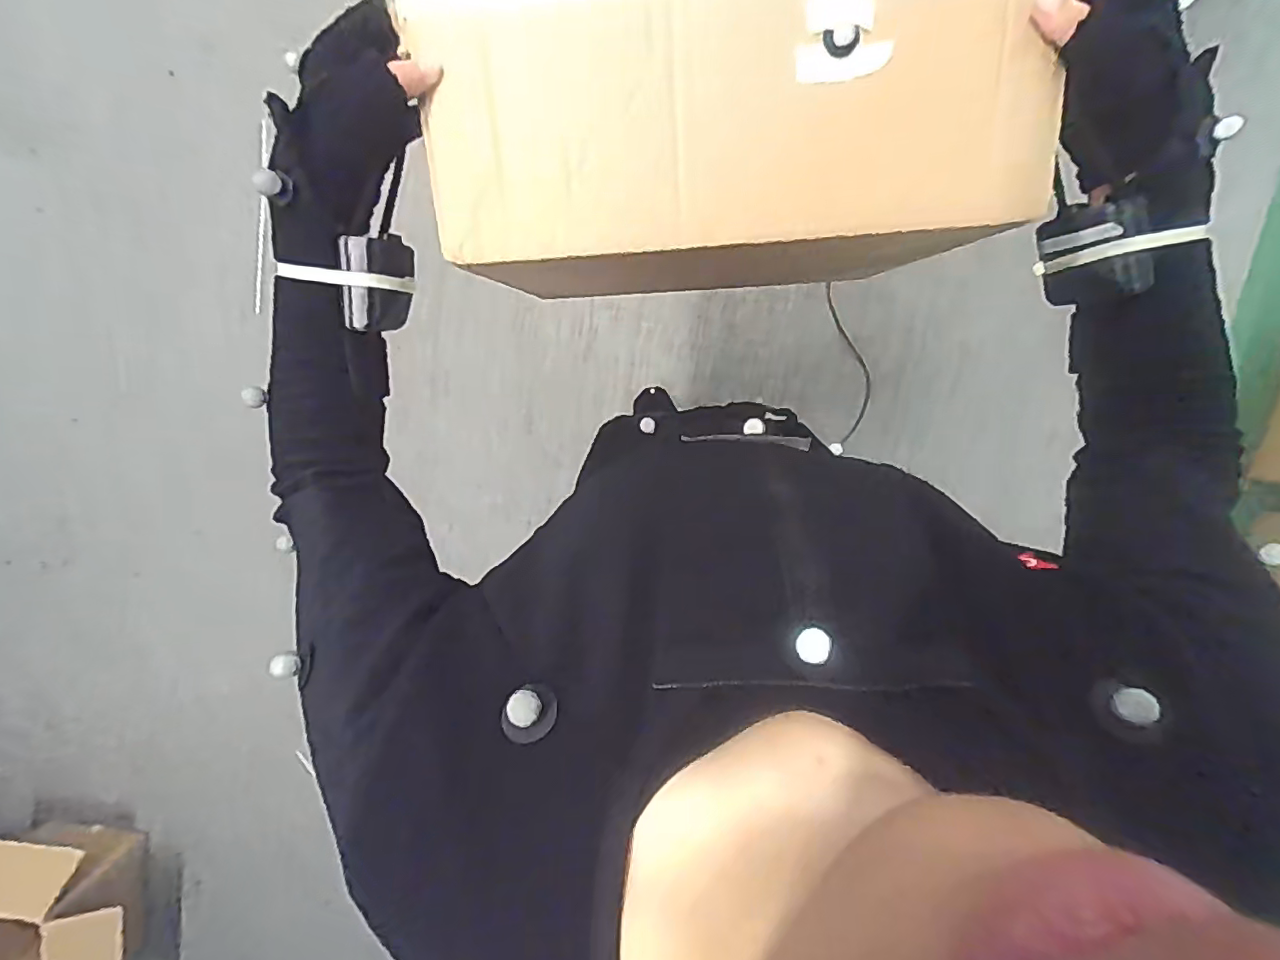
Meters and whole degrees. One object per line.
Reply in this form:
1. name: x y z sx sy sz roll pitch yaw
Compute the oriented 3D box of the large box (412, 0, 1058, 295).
1. large box: 0.055 -0.352 0.472 0.408 0.320 0.320 -3 105 2
